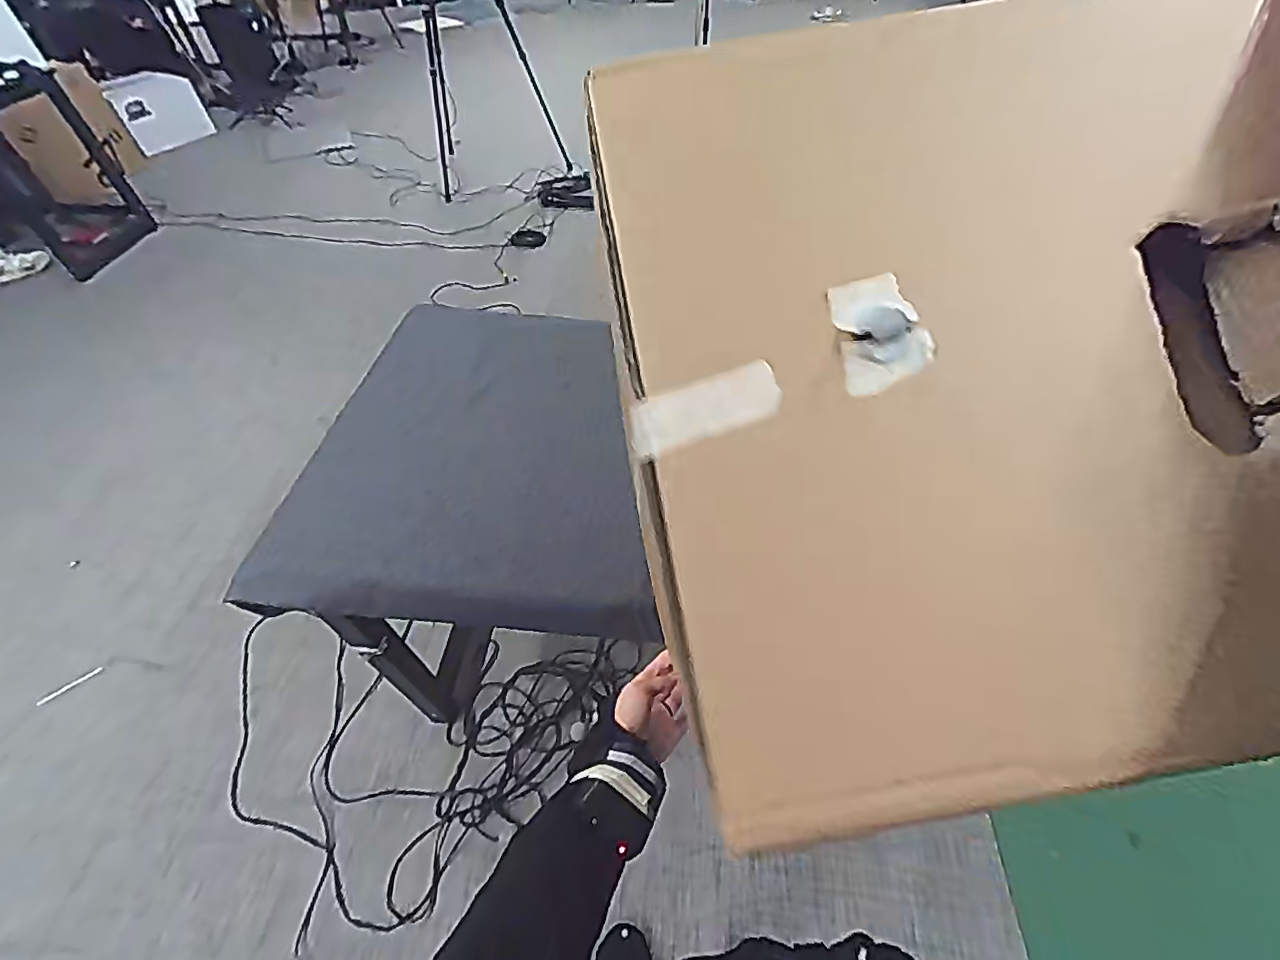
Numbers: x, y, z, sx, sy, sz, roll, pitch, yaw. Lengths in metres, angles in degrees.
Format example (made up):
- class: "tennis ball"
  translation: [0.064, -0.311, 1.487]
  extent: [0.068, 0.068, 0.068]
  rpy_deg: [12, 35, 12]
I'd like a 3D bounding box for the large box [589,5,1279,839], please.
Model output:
- class: "large box"
  translation: [0.148, -0.021, 0.413]
  extent: [0.320, 0.408, 0.320]
  rpy_deg: [-11, 84, -3]
